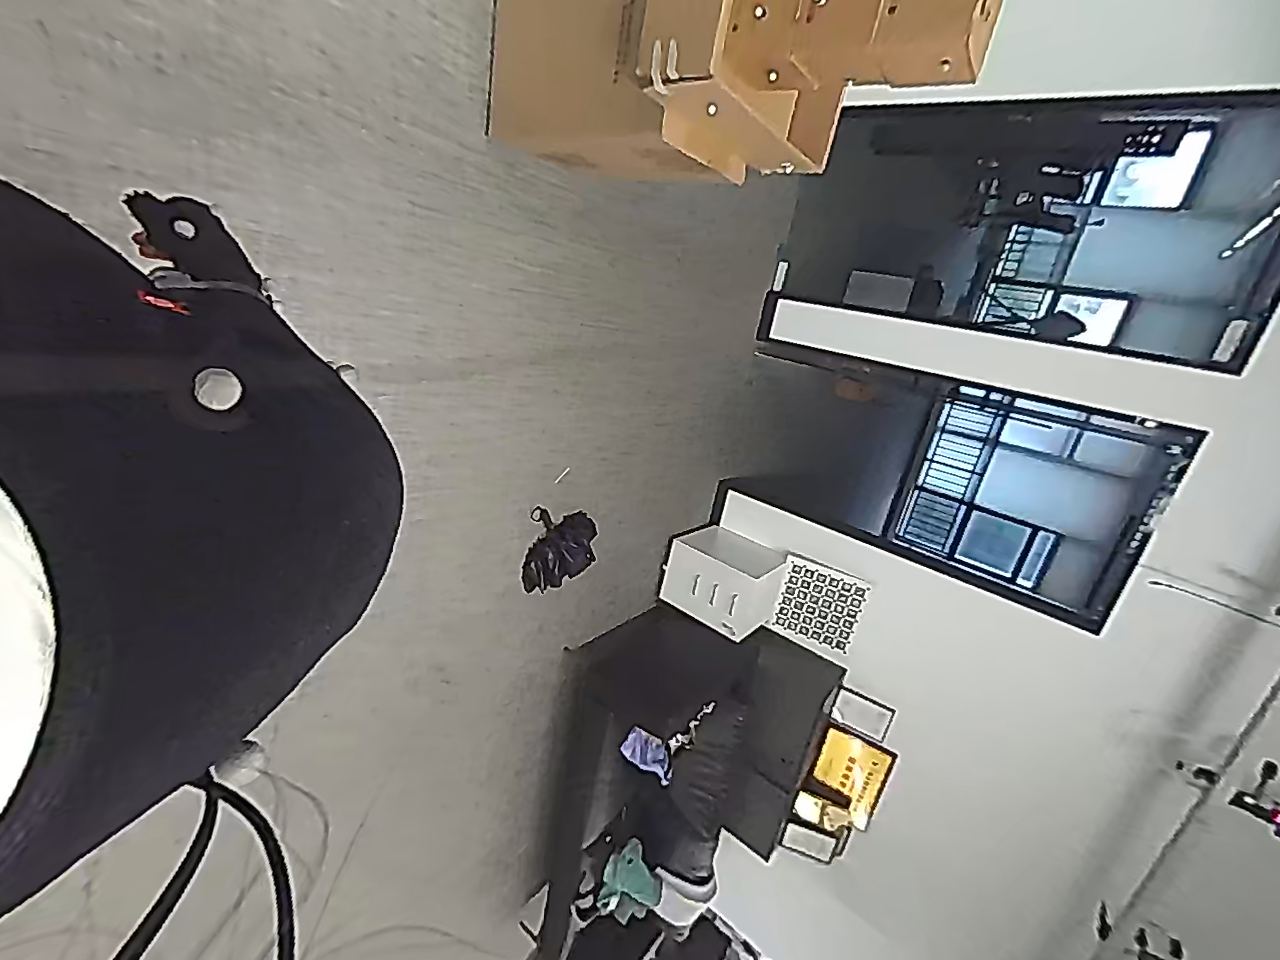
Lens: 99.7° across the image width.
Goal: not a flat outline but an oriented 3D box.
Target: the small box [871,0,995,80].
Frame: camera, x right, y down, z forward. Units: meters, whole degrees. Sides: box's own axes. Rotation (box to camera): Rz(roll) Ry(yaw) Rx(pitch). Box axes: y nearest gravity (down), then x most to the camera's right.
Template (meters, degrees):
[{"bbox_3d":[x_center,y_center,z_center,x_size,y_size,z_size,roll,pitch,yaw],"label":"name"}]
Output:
[{"bbox_3d":[0.561,-0.890,1.031,0.179,0.176,0.168,-15,122,-54],"label":"small box"}]

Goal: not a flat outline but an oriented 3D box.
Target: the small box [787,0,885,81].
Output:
[{"bbox_3d":[0.426,-0.945,1.108,0.179,0.176,0.168,-18,124,-50],"label":"small box"}]
